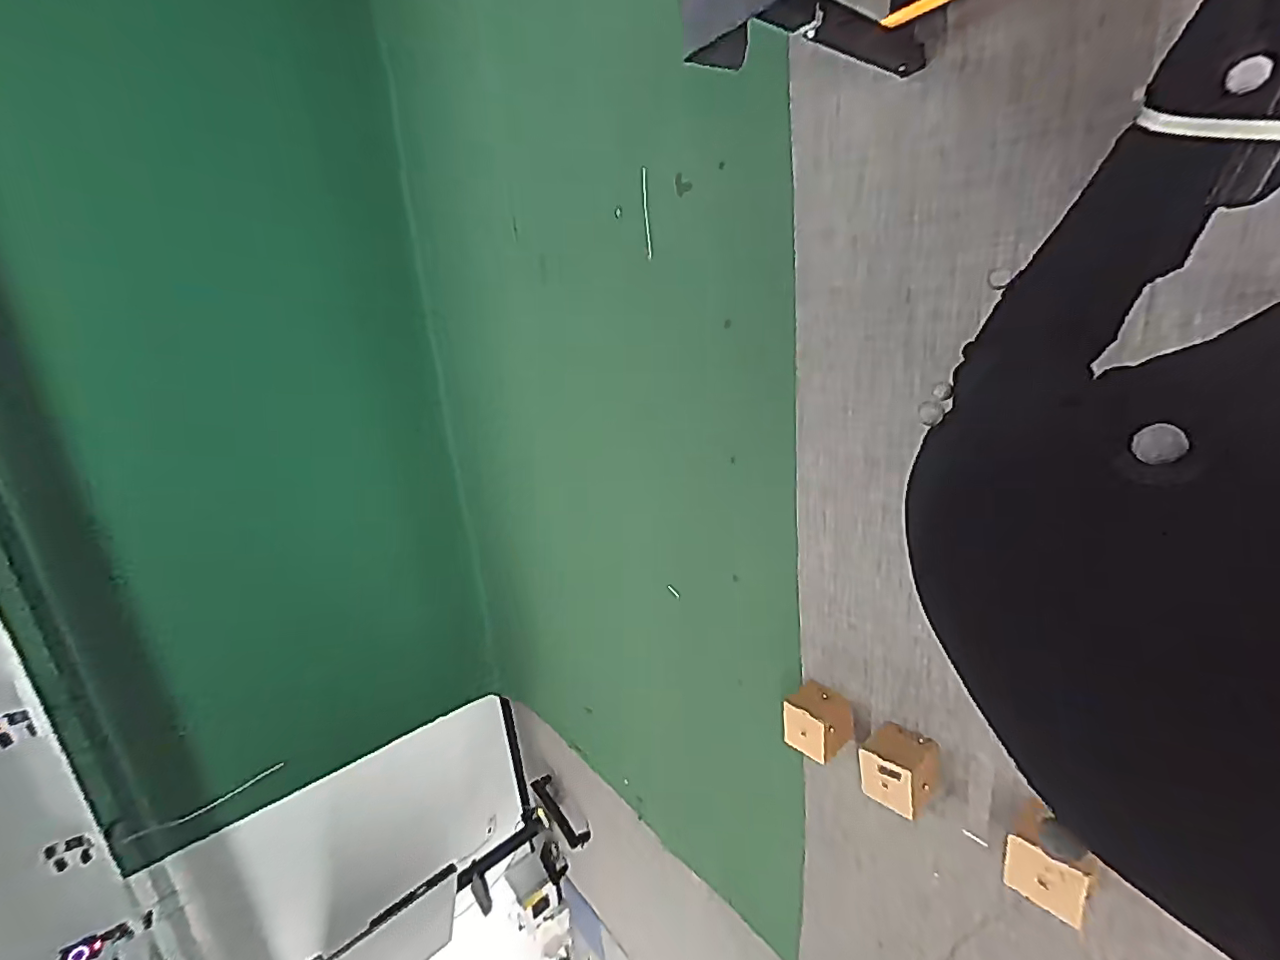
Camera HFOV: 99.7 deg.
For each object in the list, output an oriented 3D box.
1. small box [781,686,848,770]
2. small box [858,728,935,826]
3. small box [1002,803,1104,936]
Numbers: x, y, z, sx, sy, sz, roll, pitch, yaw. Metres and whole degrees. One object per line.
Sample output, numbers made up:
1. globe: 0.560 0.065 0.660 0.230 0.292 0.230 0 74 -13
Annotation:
1. small box: 0.617 0.867 1.909 0.168 0.176 0.179 12 113 49
2. small box: 0.802 0.916 1.687 0.168 0.176 0.179 7 110 51
3. small box: 1.057 0.986 1.384 0.168 0.176 0.179 14 113 48
